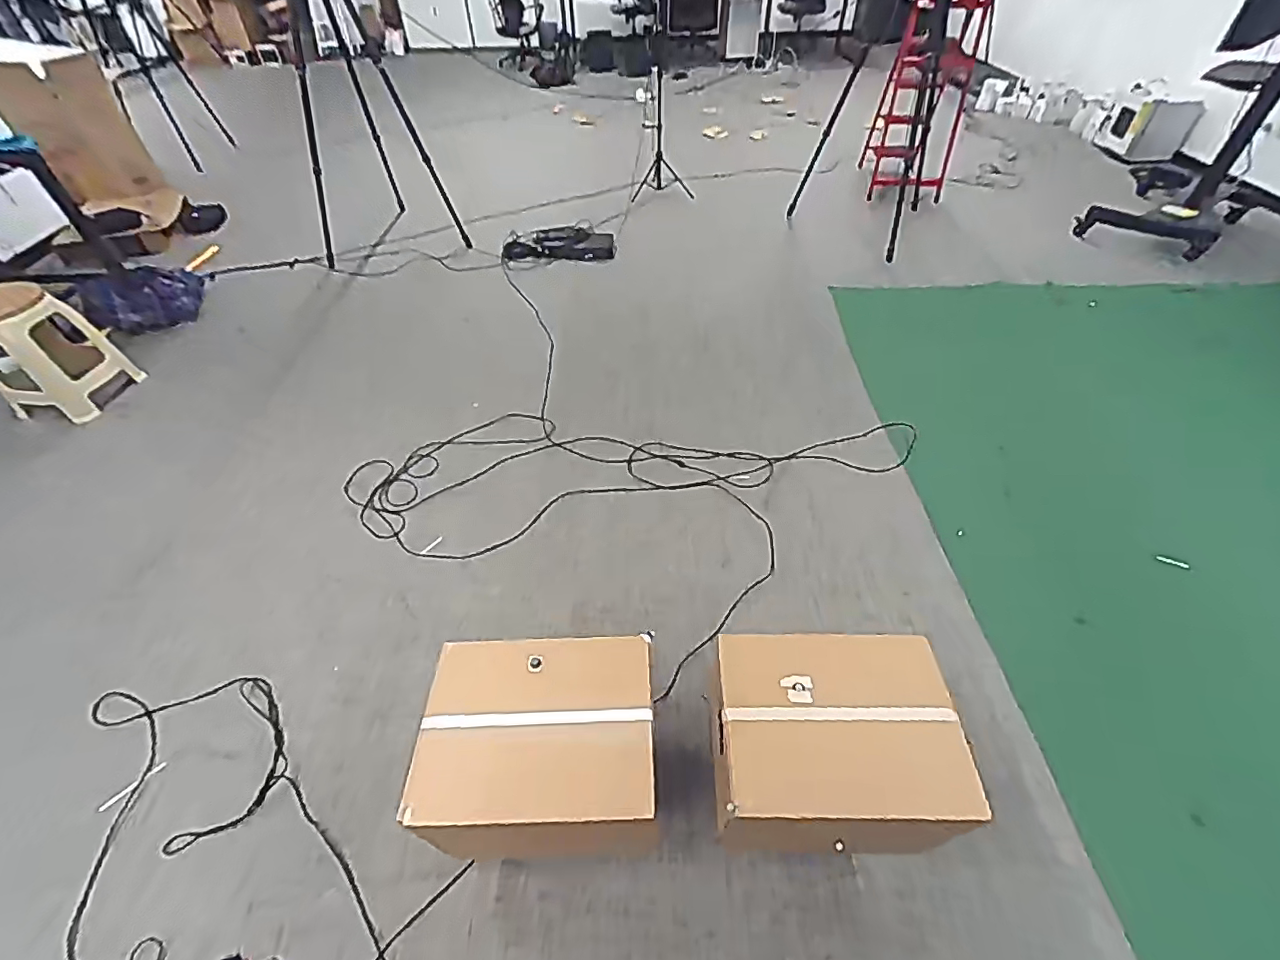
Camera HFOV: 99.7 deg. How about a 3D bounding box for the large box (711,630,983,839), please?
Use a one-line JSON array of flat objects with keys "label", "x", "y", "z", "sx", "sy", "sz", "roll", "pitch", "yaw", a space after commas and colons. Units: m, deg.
[{"label": "large box", "x": 0.359, "y": 0.512, "z": 1.075, "sx": 0.408, "sy": 0.320, "sz": 0.320, "roll": -1, "pitch": 48, "yaw": 2}]
